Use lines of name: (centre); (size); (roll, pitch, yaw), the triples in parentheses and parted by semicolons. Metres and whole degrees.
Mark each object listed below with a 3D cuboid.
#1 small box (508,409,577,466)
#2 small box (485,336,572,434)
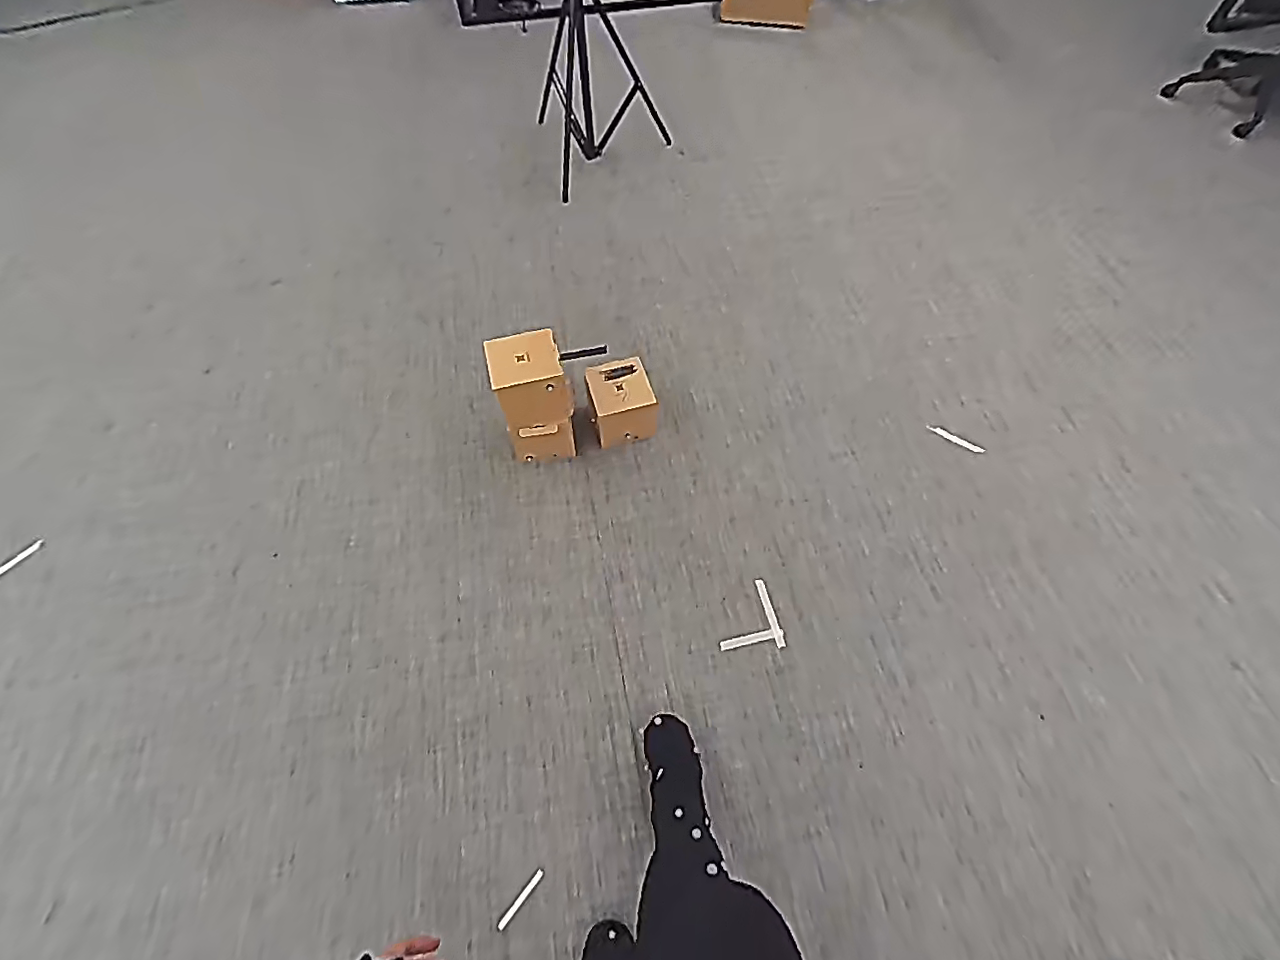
small box: (-0.277, -0.153, 1.538); (0.168, 0.176, 0.179); (-8, 59, -3)
small box: (-0.285, -0.241, 1.401); (0.179, 0.176, 0.168); (-14, 60, -7)
